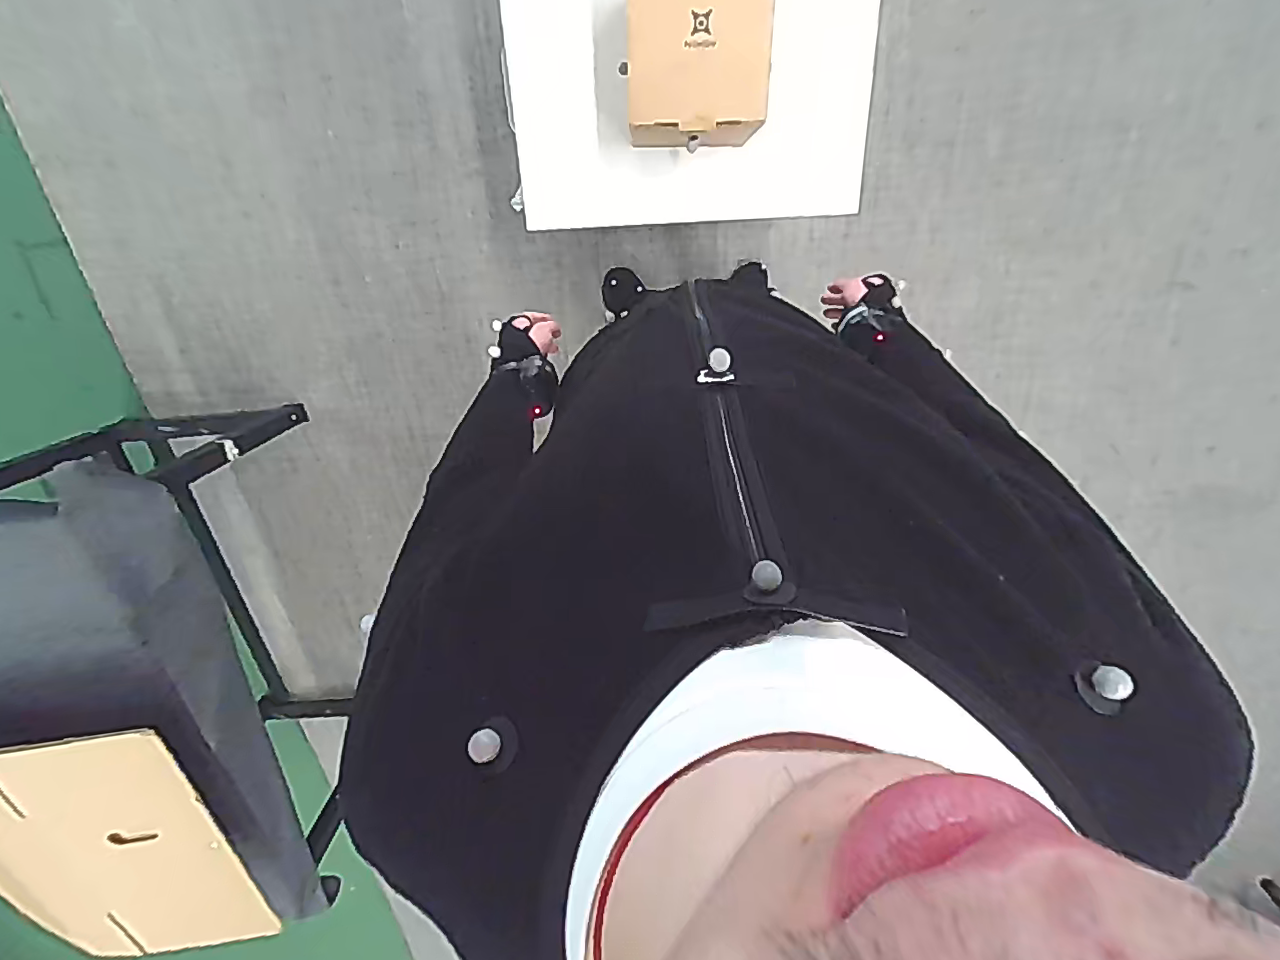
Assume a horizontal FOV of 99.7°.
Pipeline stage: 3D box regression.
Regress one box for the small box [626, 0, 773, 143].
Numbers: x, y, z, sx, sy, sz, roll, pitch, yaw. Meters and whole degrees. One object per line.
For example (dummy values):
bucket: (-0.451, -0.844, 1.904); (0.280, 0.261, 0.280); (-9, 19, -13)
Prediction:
small box: (0.070, -0.537, 0.681); (0.168, 0.176, 0.179); (-2, 113, 3)
